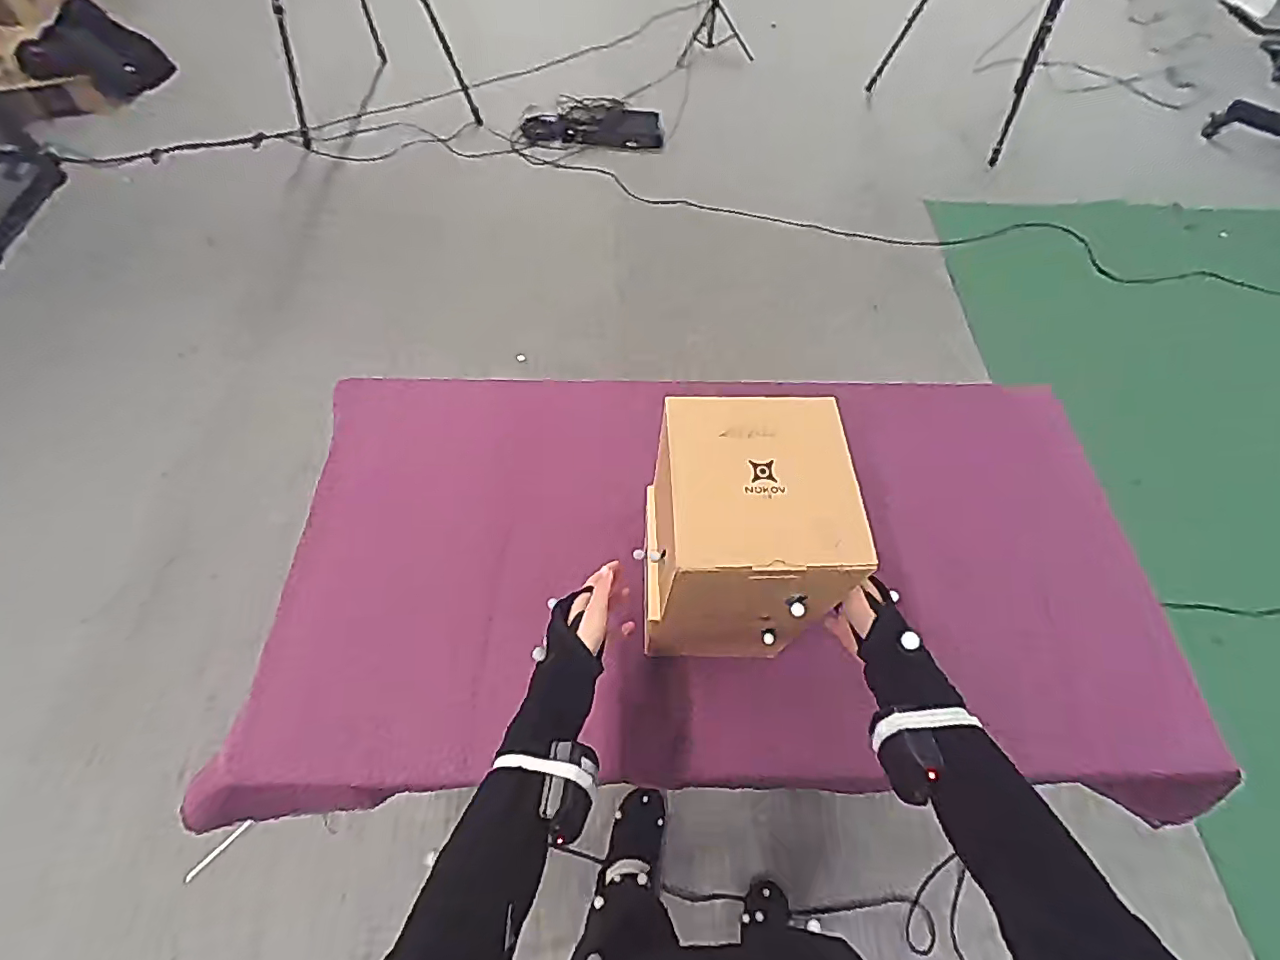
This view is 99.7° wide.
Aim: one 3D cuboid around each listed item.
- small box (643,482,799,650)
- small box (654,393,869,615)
[{"bbox_3d":[0.092,0.114,0.685,0.179,0.176,0.168,0,59,-2],"label":"small box"},{"bbox_3d":[0.102,0.032,0.545,0.168,0.176,0.179,0,59,-3],"label":"small box"}]
